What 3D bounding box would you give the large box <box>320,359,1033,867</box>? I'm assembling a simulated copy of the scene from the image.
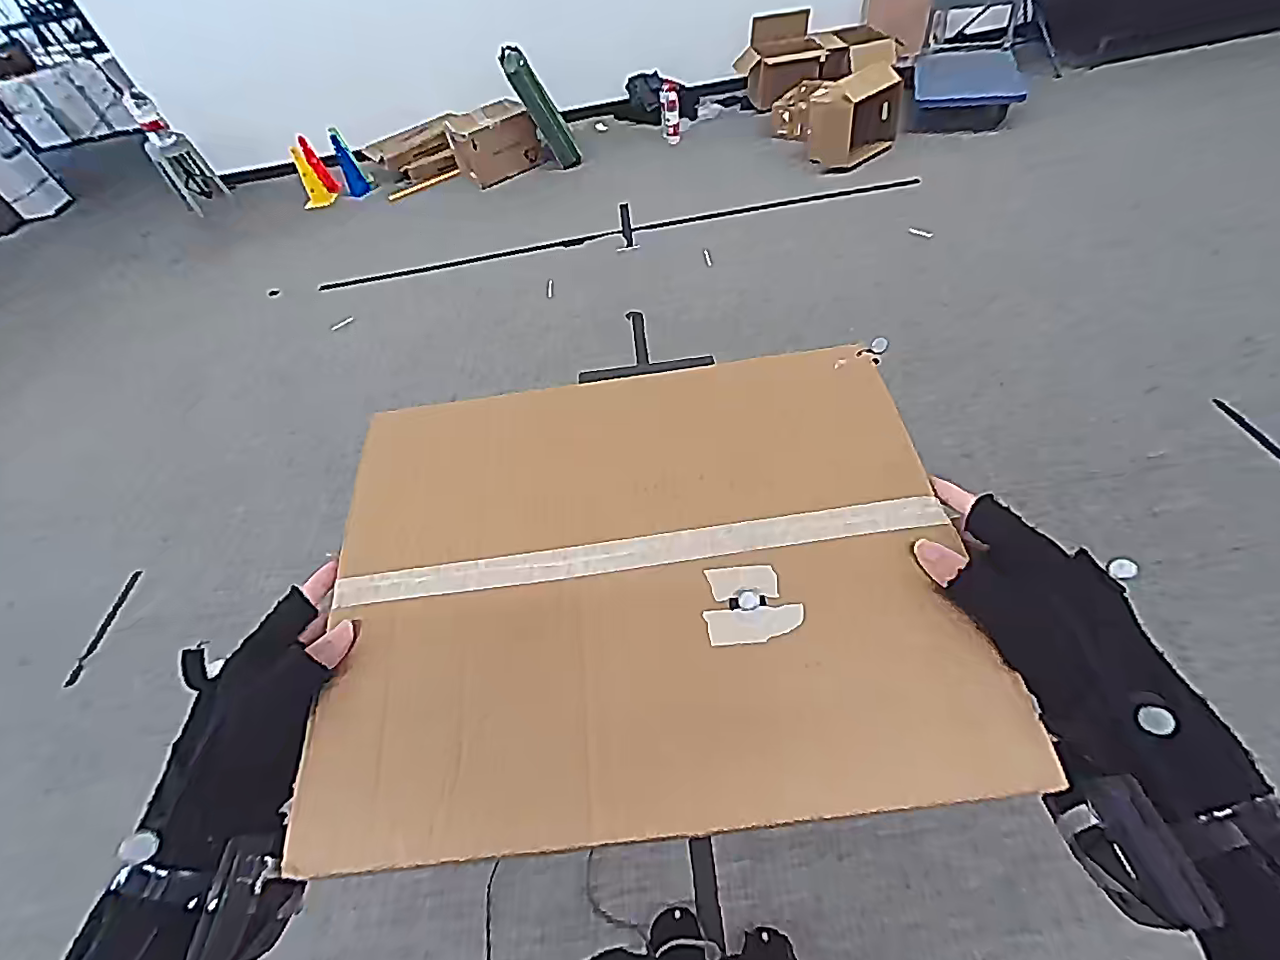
[{"bbox_3d":[0.014,0.133,0.497,0.408,0.320,0.320,-8,58,1],"label":"large box"}]
